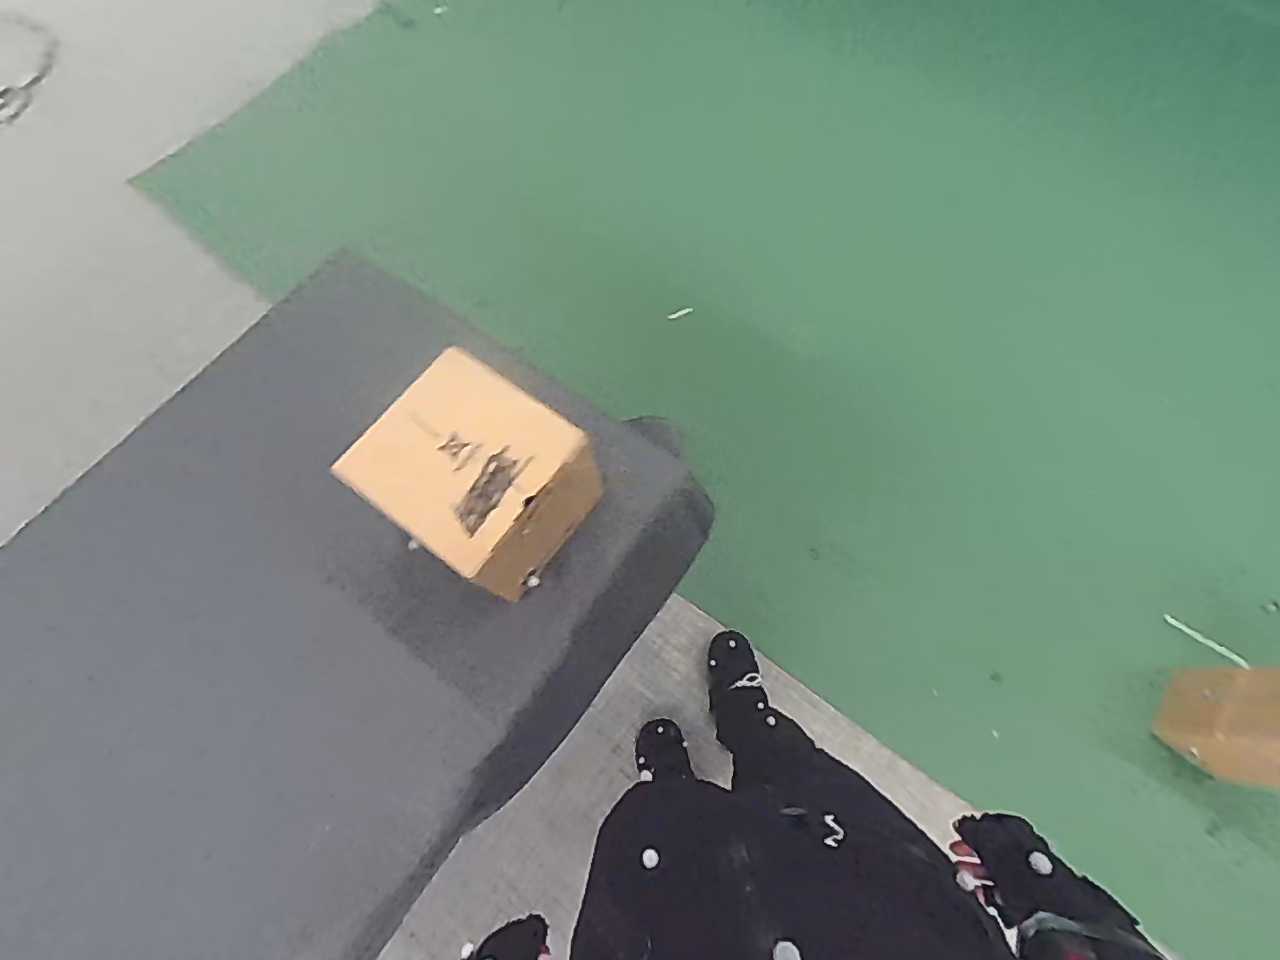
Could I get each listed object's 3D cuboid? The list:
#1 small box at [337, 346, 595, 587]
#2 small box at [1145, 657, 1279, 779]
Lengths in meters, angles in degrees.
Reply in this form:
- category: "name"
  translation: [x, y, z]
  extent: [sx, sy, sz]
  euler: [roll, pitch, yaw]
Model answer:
- category: "small box"
  translation: [-0.166, -0.002, 0.582]
  extent: [0.179, 0.176, 0.168]
  euler: [34, 74, 13]
- category: "small box"
  translation: [1.265, 0.507, 1.172]
  extent: [0.168, 0.176, 0.179]
  euler: [36, 75, 13]
